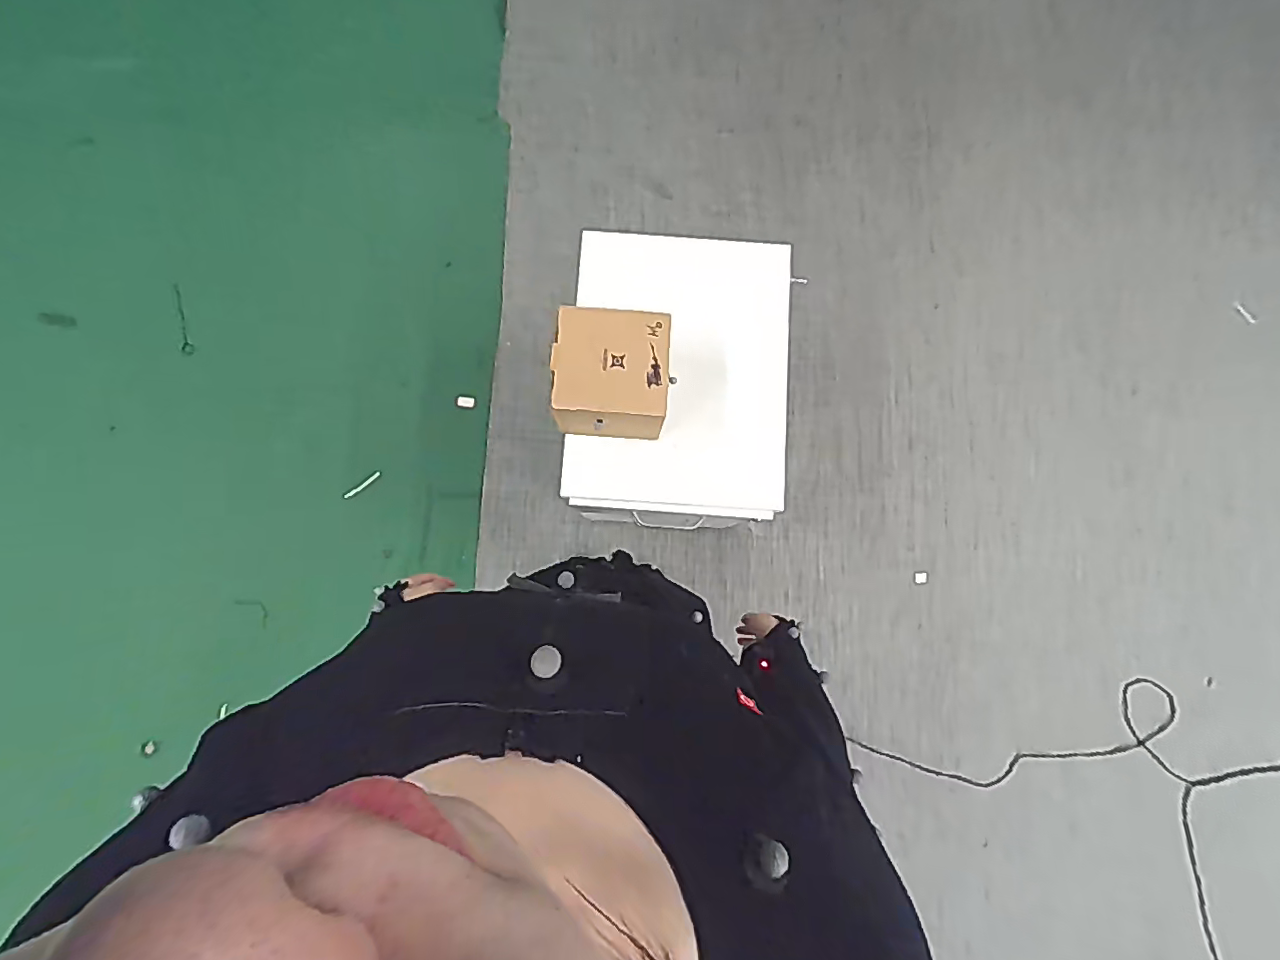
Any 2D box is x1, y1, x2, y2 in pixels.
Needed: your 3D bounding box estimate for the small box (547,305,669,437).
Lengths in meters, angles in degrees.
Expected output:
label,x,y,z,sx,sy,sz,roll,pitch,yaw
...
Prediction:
label,x,y,z,sx,sy,sz,roll,pitch,yaw
small box,-0.050,-0.170,0.893,0.179,0.176,0.168,4,82,-2
